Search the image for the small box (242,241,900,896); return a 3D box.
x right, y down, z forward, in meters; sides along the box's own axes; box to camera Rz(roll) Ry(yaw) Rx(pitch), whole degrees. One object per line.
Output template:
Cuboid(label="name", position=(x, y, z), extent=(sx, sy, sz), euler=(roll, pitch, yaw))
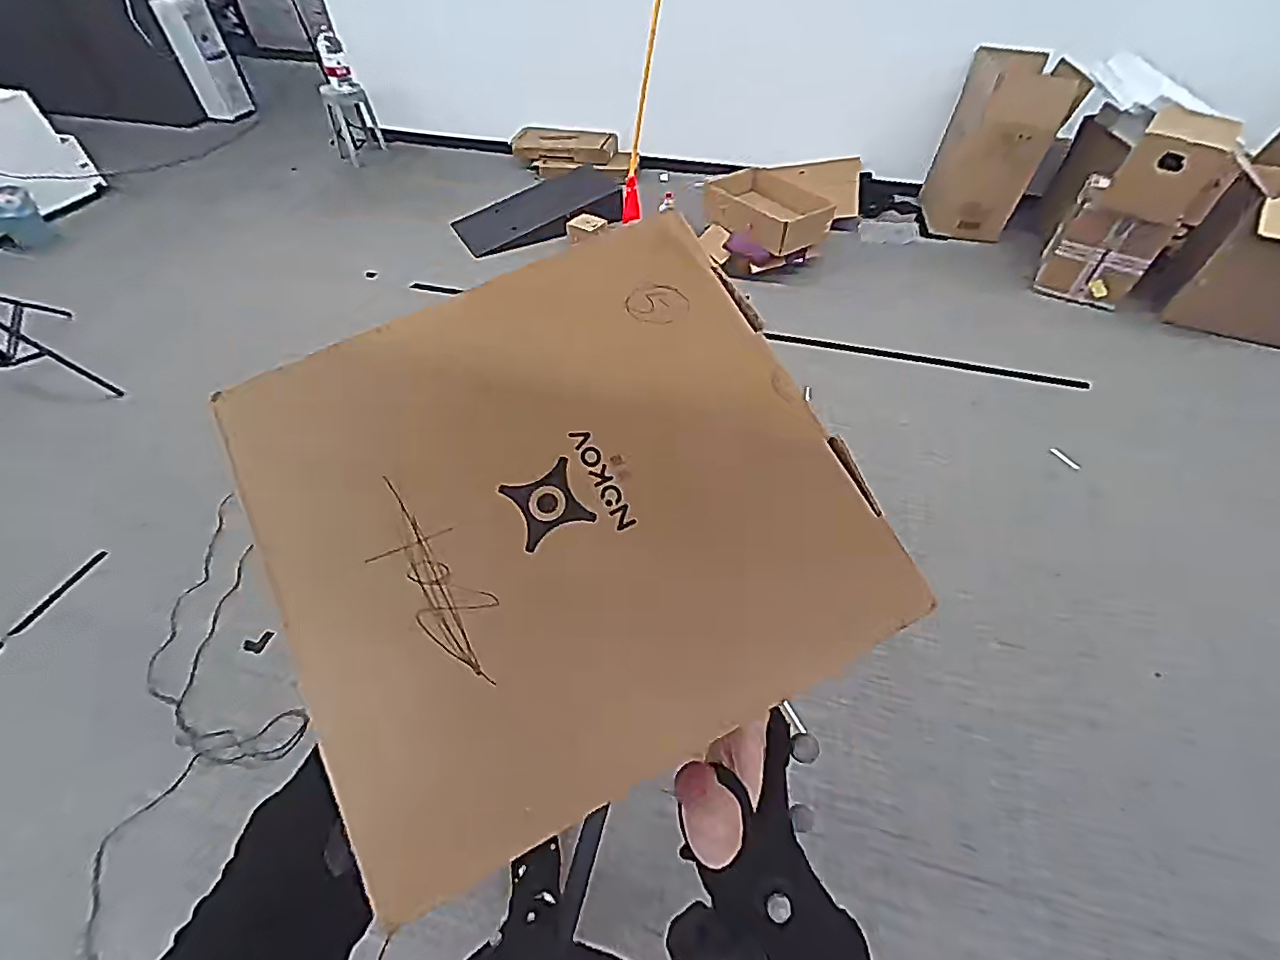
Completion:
Cuboid(label="small box", position=(-0.028, 0.033, 0.258), extent=(0.179, 0.176, 0.168), euler=(-27, 74, -8))
